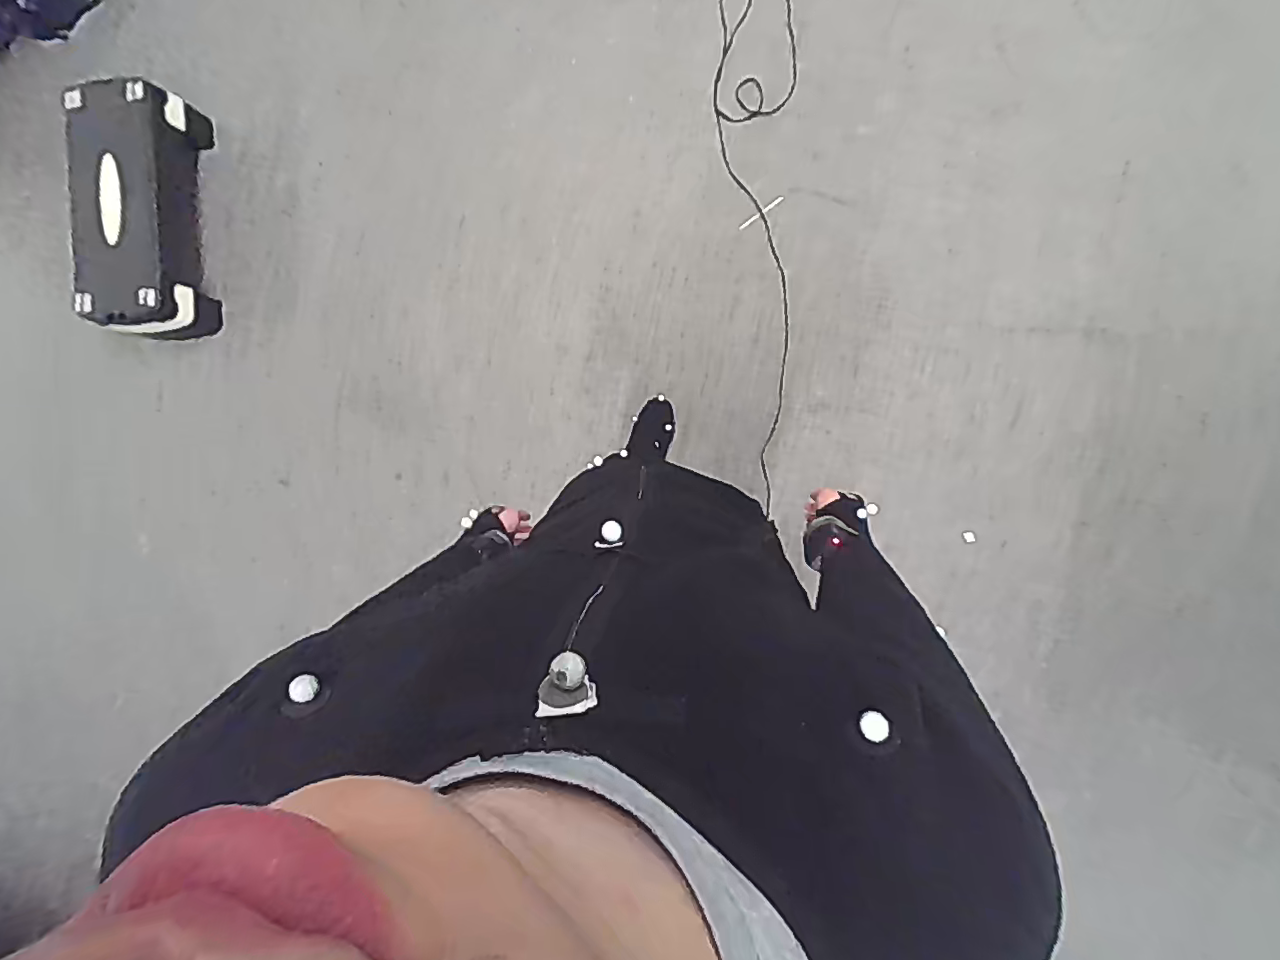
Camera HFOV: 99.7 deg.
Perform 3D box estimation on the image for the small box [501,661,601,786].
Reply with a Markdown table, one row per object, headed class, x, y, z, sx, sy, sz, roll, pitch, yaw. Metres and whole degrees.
| class | x | y | z | sx | sy | sz | roll | pitch | yaw |
| --- | --- | --- | --- | --- | --- | --- | --- | --- | --- |
| small box | -0.190 | 0.530 | 1.198 | 0.168 | 0.176 | 0.179 | 9 | 95 | 7 |
